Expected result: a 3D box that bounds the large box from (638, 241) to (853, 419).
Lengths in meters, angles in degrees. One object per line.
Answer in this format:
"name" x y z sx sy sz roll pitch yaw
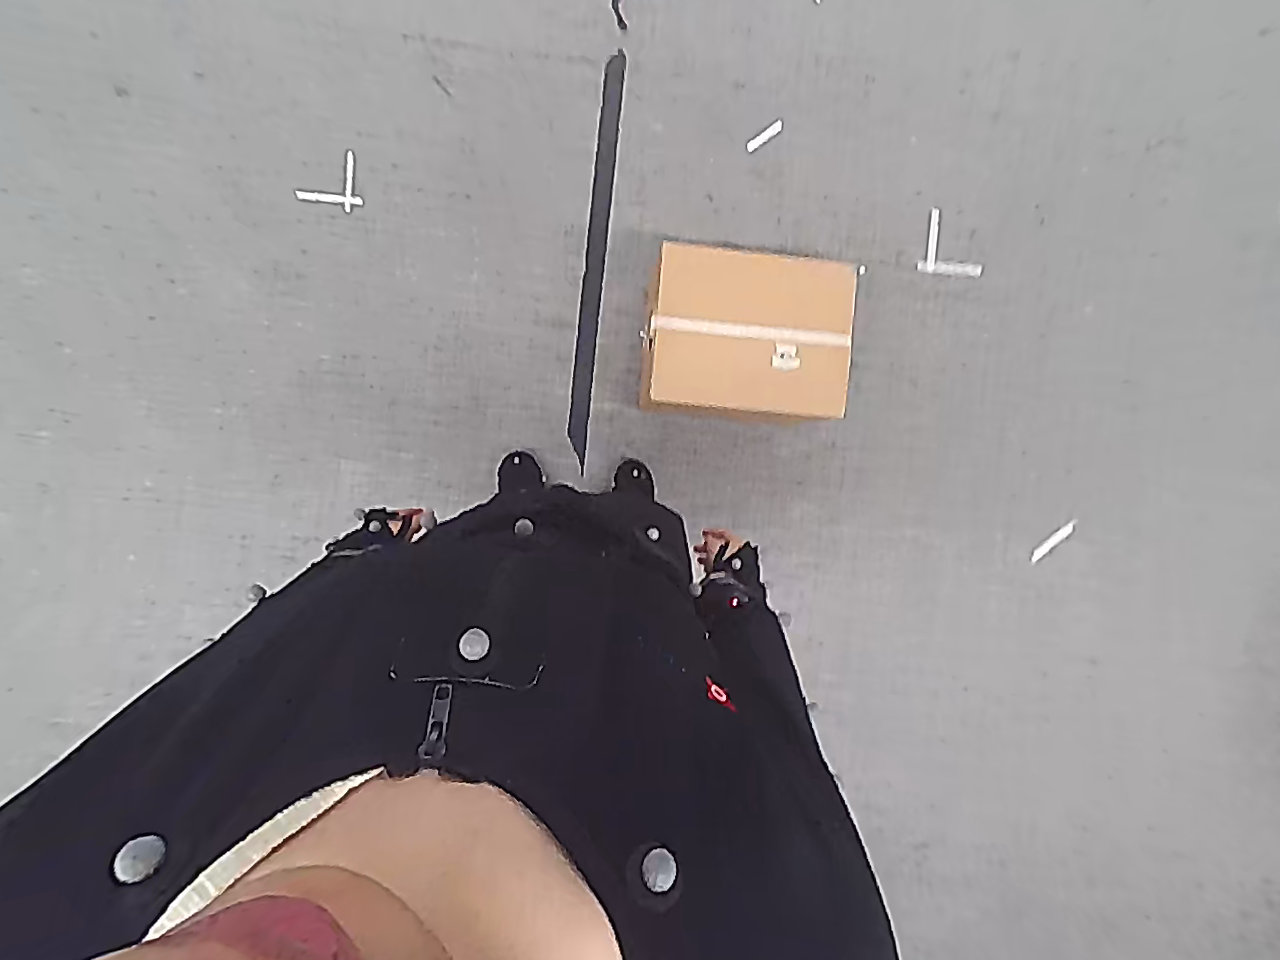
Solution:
"large box" 0.212 -0.315 1.236 0.408 0.320 0.320 4 94 -6
